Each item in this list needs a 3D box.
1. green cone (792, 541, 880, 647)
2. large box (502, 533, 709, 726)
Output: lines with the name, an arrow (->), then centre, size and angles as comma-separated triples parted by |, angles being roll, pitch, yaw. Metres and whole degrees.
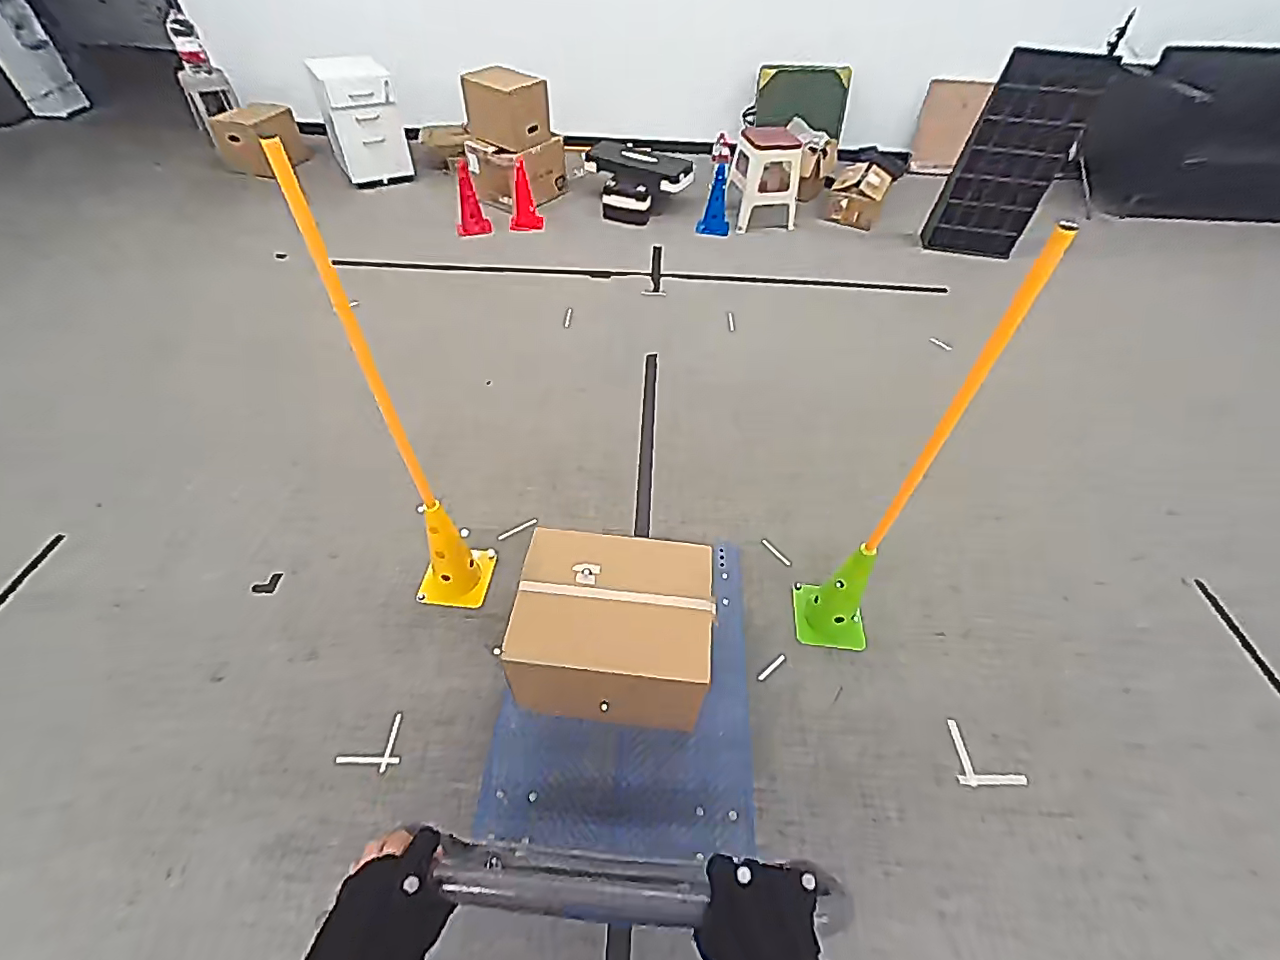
green cone -> 0.576, 0.291, 1.511 | 0.202, 0.368, 0.200 | 7, 49, 2
large box -> -0.058, 0.347, 1.243 | 0.408, 0.320, 0.320 | 6, 49, 3
